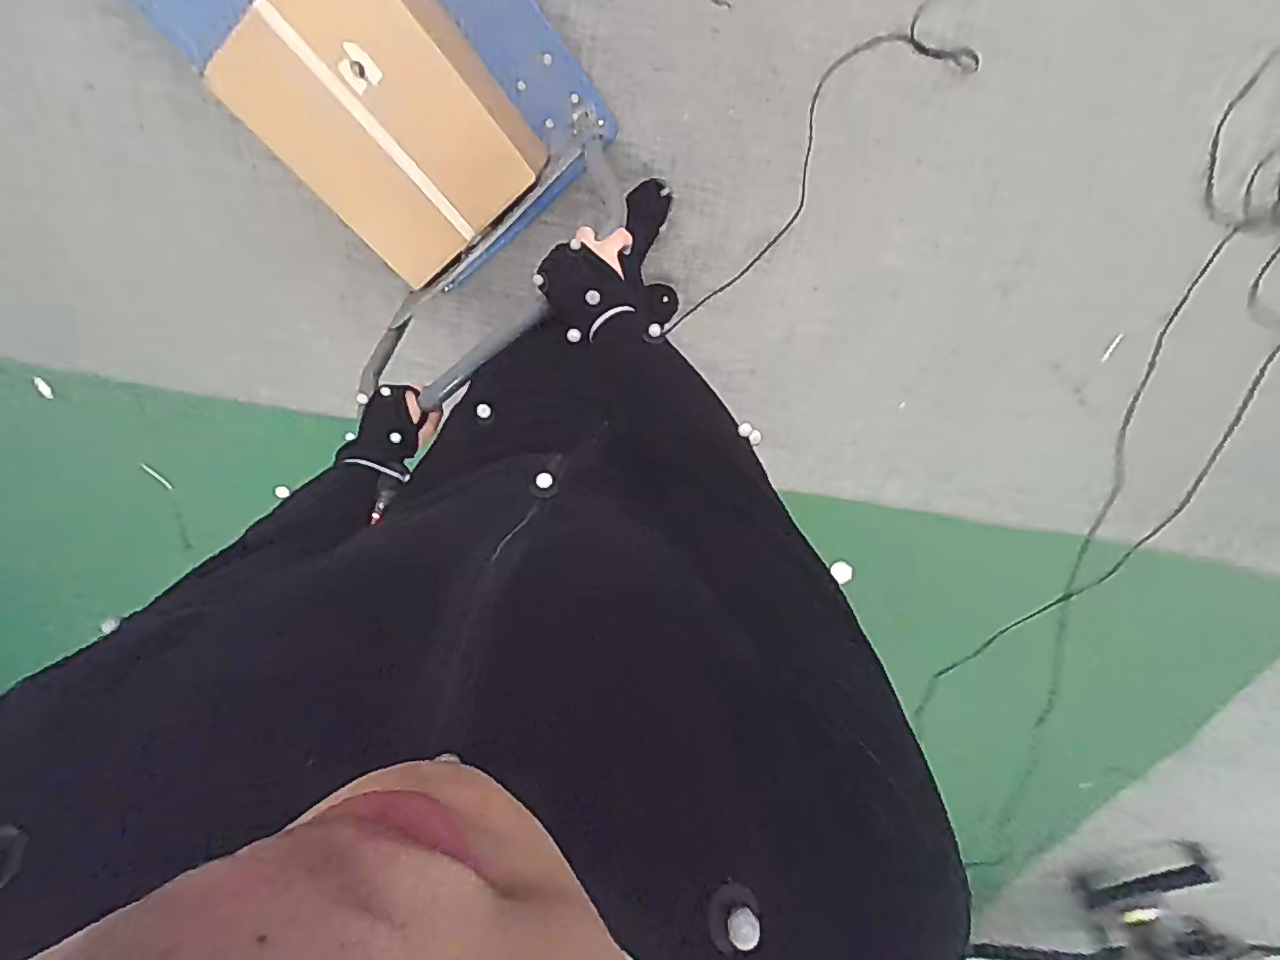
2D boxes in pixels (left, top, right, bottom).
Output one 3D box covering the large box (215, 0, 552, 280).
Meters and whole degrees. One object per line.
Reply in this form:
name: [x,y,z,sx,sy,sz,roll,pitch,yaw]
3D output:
large box: [-0.416,-0.658,0.989,0.320,0.320,0.408,-33,122,19]
